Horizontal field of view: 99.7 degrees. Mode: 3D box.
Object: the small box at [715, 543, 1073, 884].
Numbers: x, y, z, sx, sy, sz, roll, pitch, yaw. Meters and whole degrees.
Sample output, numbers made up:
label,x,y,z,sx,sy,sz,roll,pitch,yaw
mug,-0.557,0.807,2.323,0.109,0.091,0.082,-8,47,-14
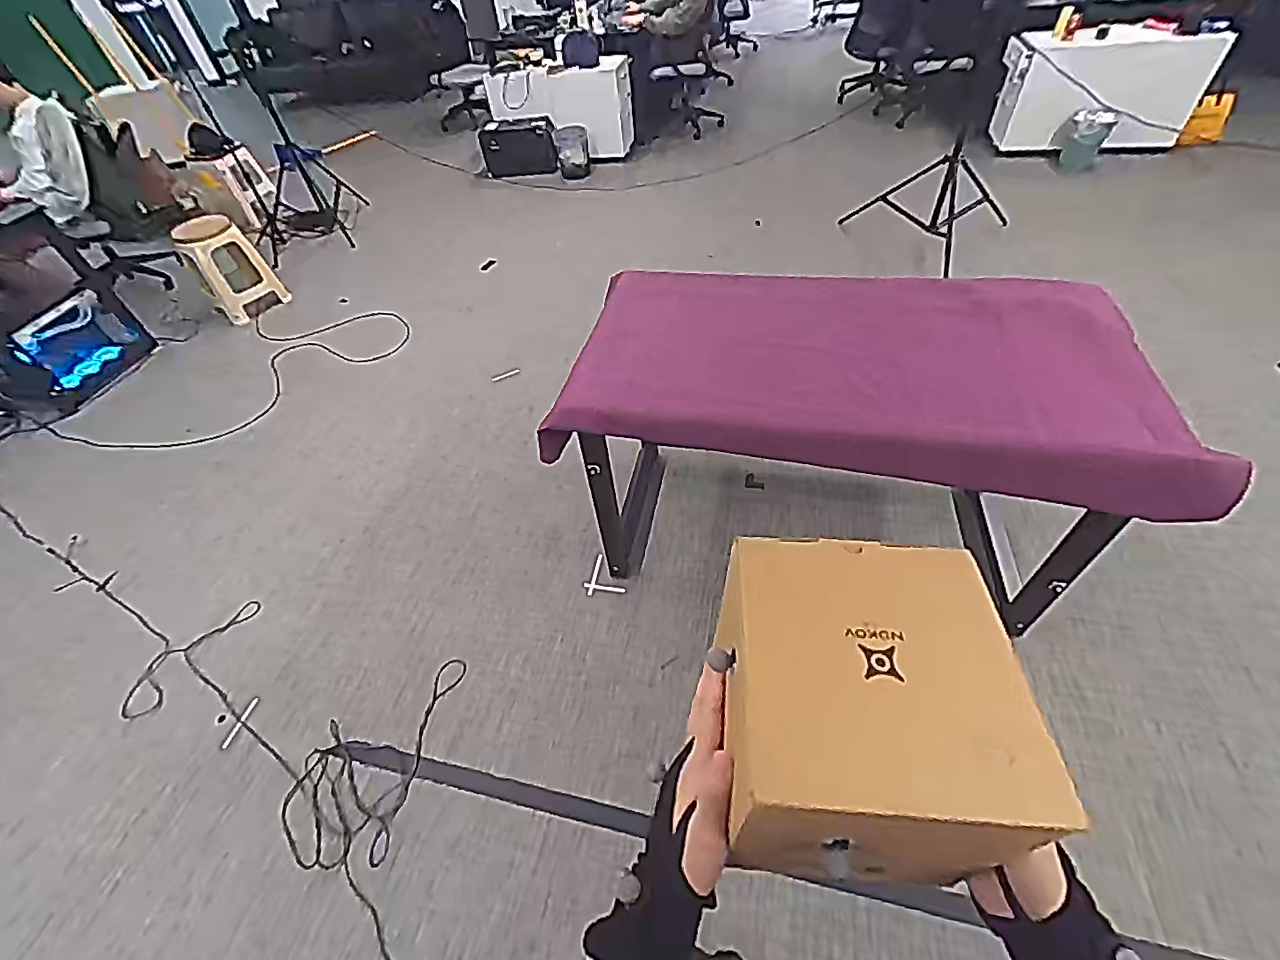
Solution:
label,x,y,z,sx,sy,sz,roll,pitch,yaw
small box,0.145,0.168,0.390,0.168,0.176,0.179,3,44,3
